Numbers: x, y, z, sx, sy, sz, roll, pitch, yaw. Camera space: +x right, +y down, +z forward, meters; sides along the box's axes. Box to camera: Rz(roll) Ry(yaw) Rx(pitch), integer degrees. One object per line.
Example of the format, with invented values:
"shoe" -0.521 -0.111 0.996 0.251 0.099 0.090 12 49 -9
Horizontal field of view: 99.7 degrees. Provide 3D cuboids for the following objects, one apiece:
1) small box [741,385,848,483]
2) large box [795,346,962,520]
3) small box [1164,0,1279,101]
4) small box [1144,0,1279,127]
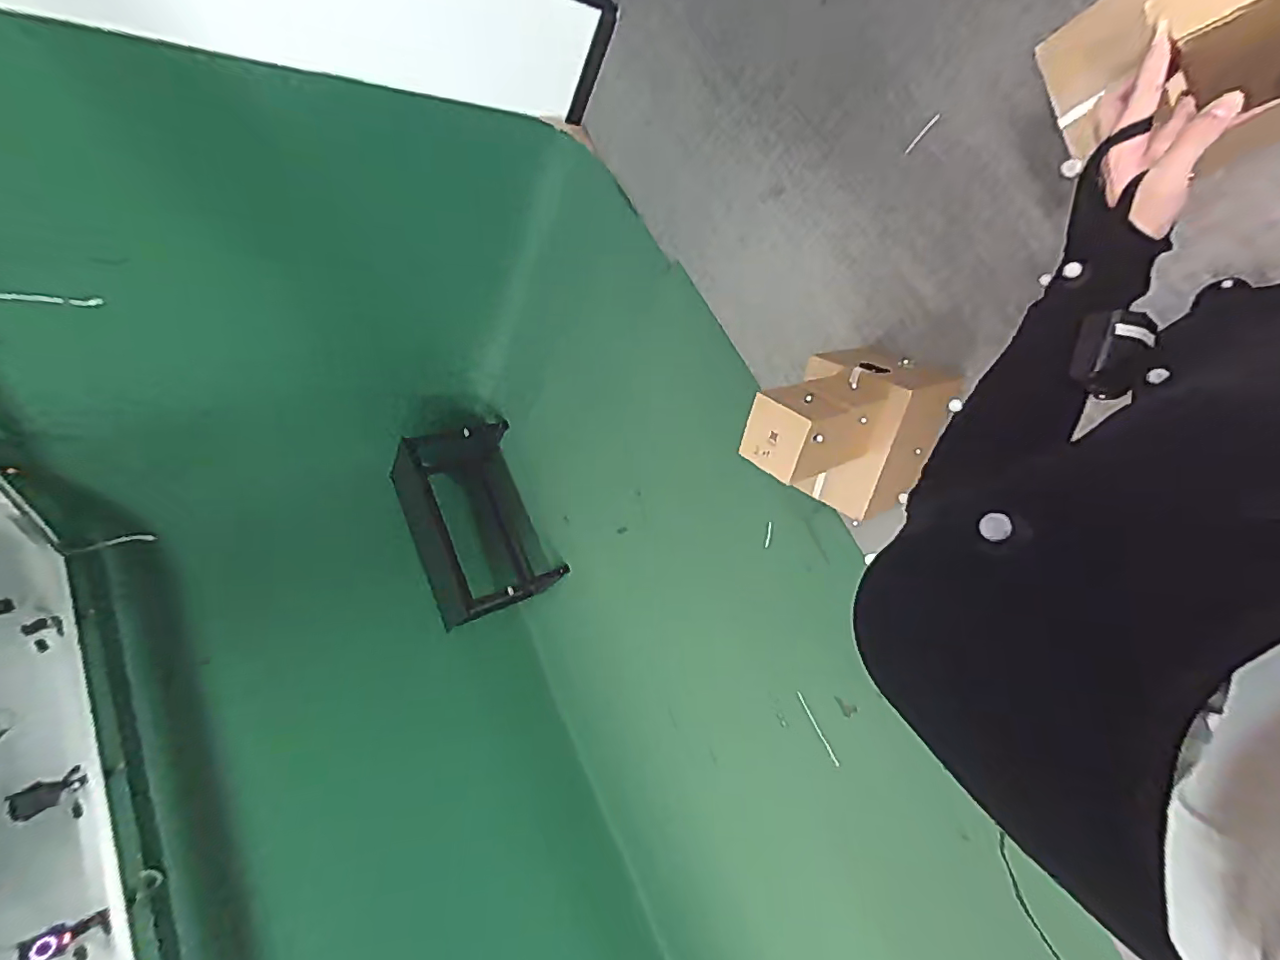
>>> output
"small box" 0.383 -0.121 1.334 0.168 0.176 0.179 40 132 37
"large box" 0.683 -0.158 1.621 0.320 0.320 0.408 36 131 41
"small box" 0.488 -0.406 0.375 0.168 0.176 0.179 -6 89 51
"small box" 0.873 -0.653 0.782 0.168 0.176 0.179 -16 92 53
